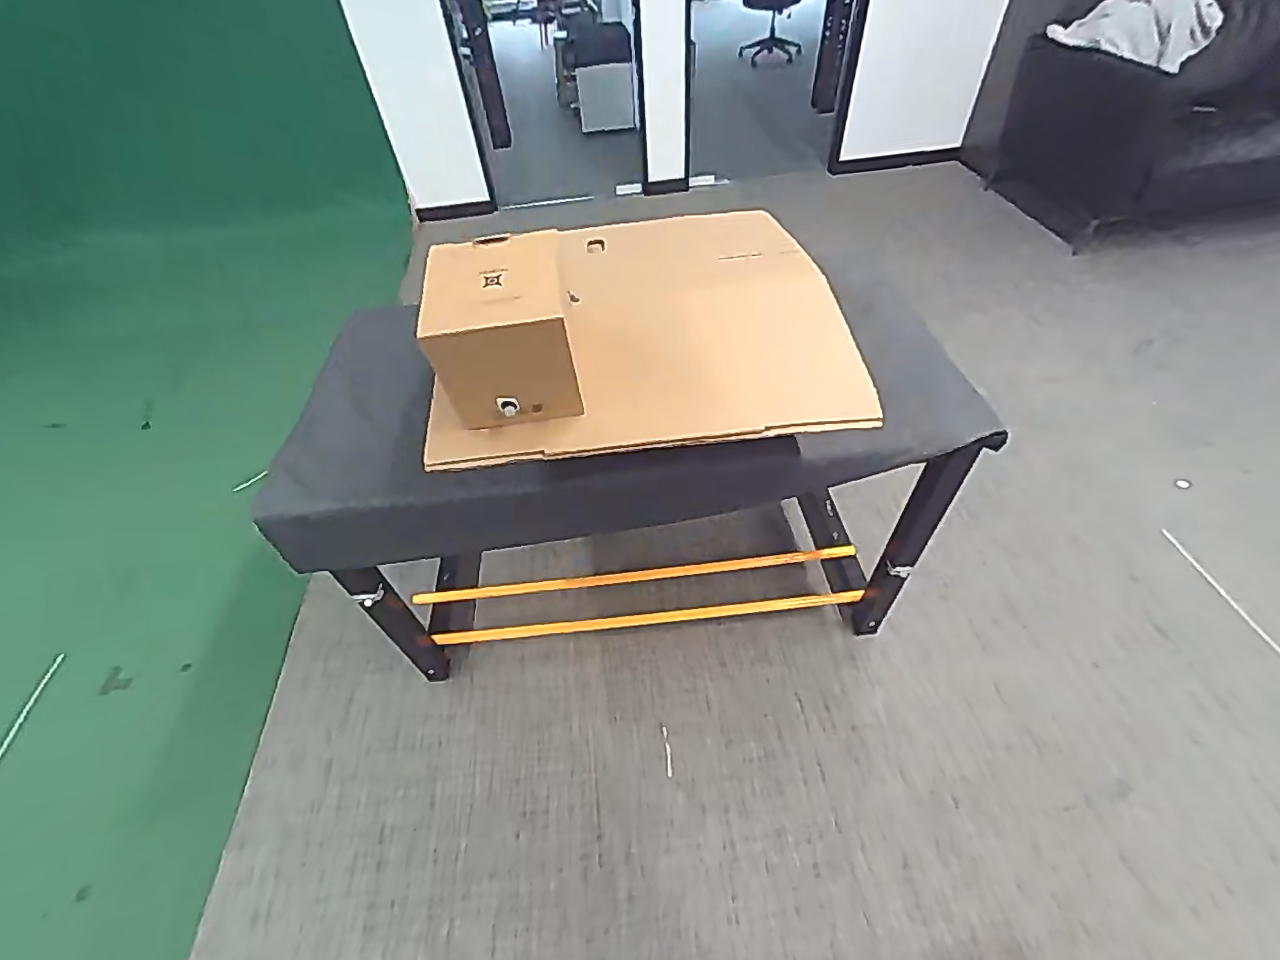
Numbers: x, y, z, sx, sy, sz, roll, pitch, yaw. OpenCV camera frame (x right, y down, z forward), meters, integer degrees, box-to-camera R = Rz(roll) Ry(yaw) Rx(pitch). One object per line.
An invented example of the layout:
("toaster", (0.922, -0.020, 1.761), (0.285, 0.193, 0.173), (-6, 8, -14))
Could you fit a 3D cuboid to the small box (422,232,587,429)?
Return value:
("small box", (-0.167, -0.193, 0.712), (0.168, 0.176, 0.179), (-9, 57, -1))
